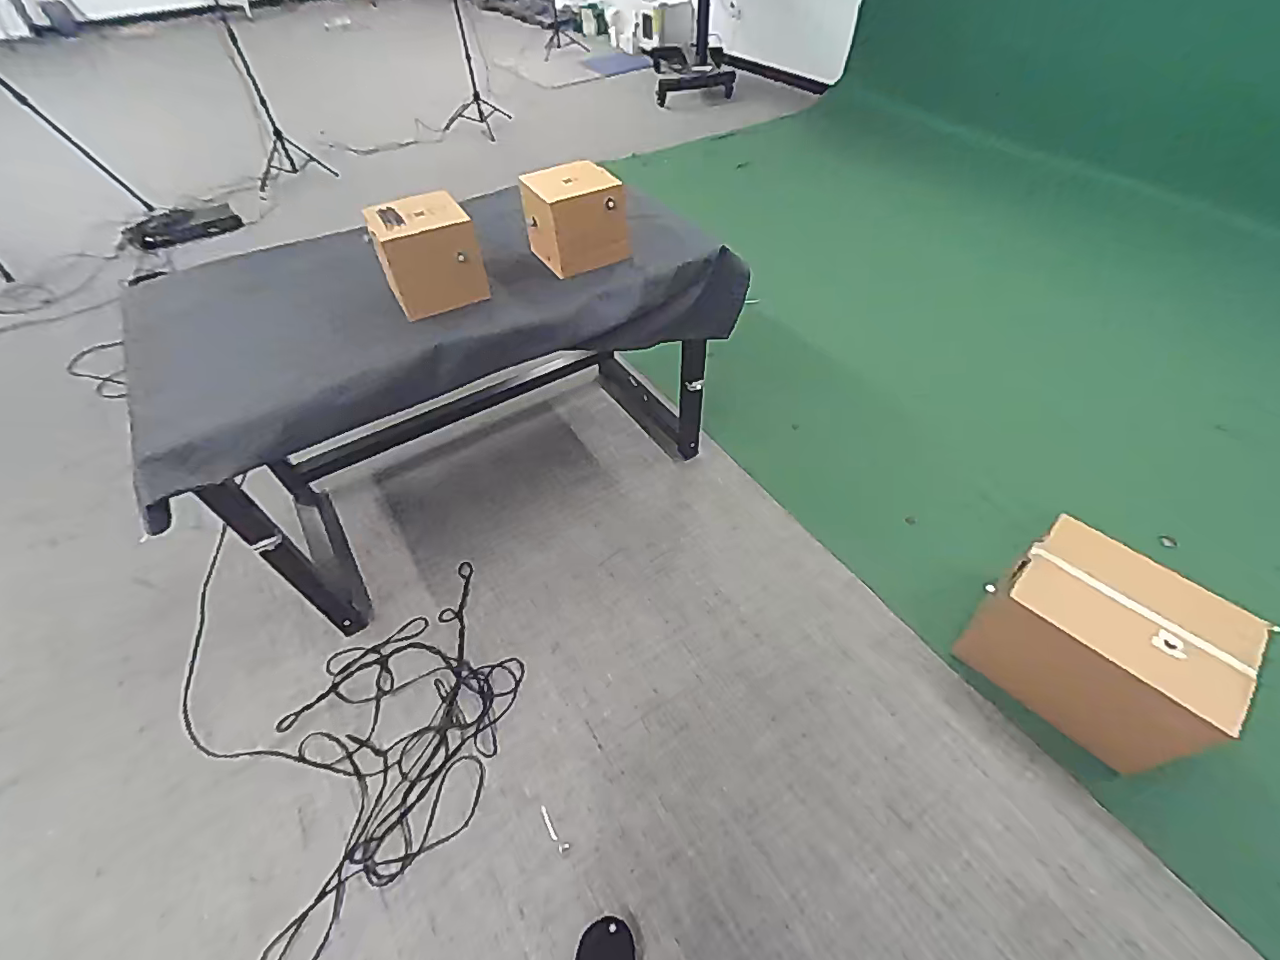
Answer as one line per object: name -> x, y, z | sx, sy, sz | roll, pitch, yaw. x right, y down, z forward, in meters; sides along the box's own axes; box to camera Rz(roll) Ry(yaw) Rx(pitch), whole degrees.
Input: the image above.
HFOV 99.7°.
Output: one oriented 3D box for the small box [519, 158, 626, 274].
small box -> -0.144, -0.582, 1.198 | 0.179, 0.176, 0.168 | -26, 54, -19
